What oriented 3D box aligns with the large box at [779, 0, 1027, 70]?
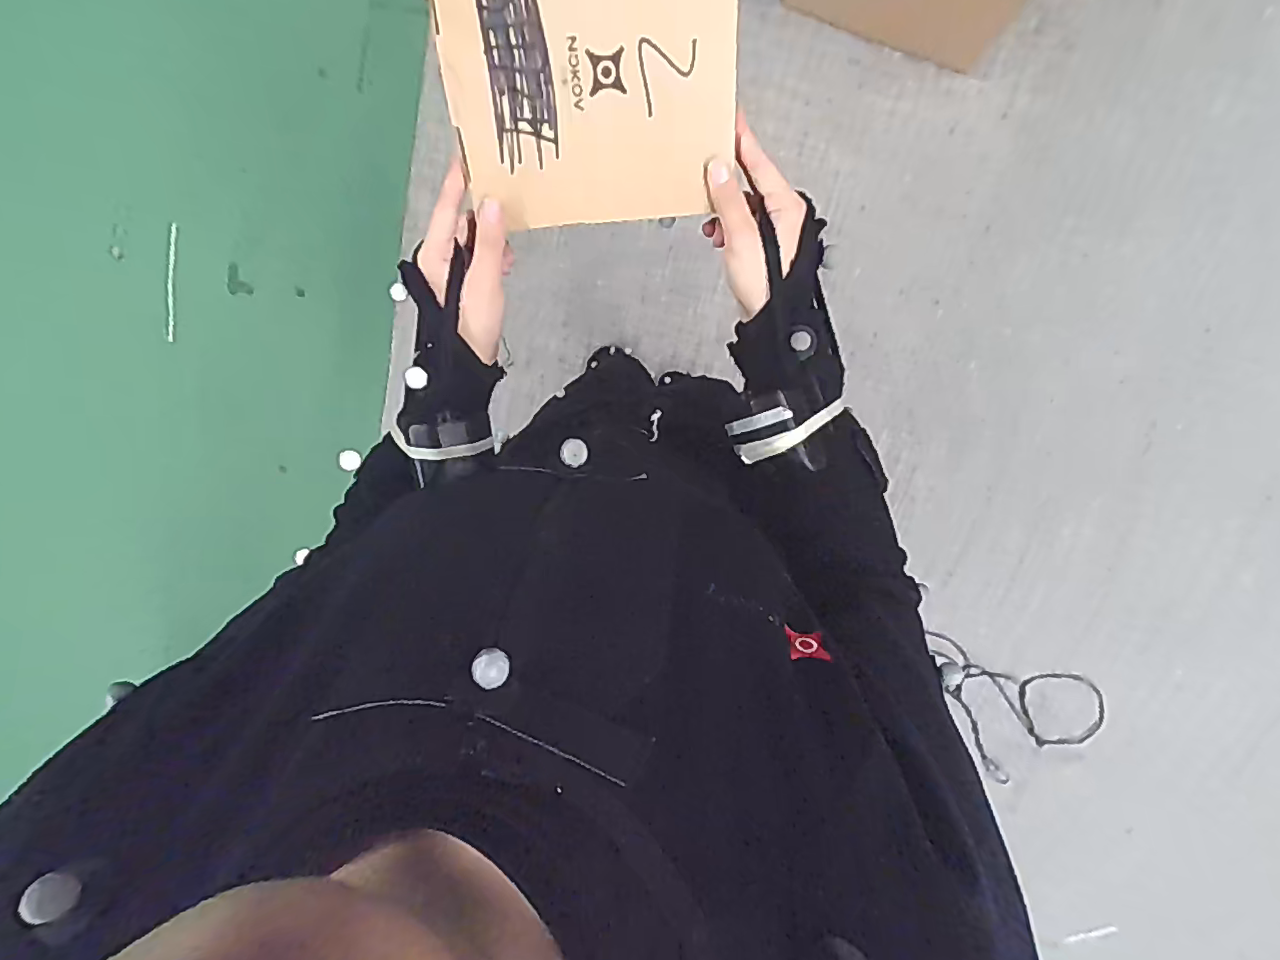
[{"bbox_3d":[0.490,-0.982,0.900,0.408,0.320,0.320,22,107,3],"label":"large box"}]
